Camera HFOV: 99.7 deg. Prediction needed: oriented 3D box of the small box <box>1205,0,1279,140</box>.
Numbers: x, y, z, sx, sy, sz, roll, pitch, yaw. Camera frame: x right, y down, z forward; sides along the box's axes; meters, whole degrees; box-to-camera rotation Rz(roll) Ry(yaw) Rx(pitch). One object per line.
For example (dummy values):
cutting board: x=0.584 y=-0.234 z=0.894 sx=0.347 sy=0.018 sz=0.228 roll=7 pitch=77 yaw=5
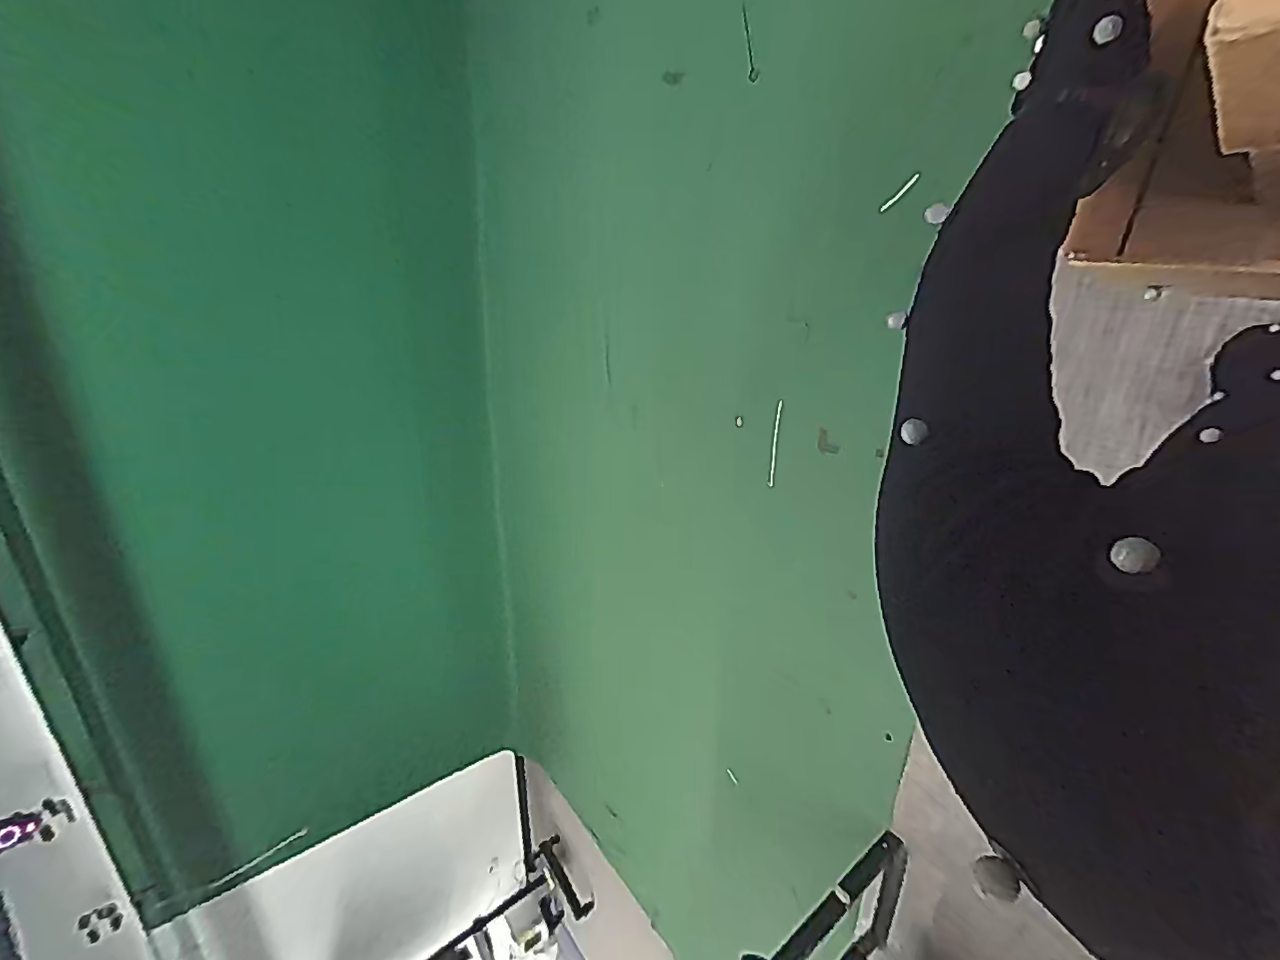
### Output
small box: x=0.398 y=-0.270 z=0.231 sx=0.179 sy=0.176 sz=0.168 roll=24 pitch=113 yaw=44
